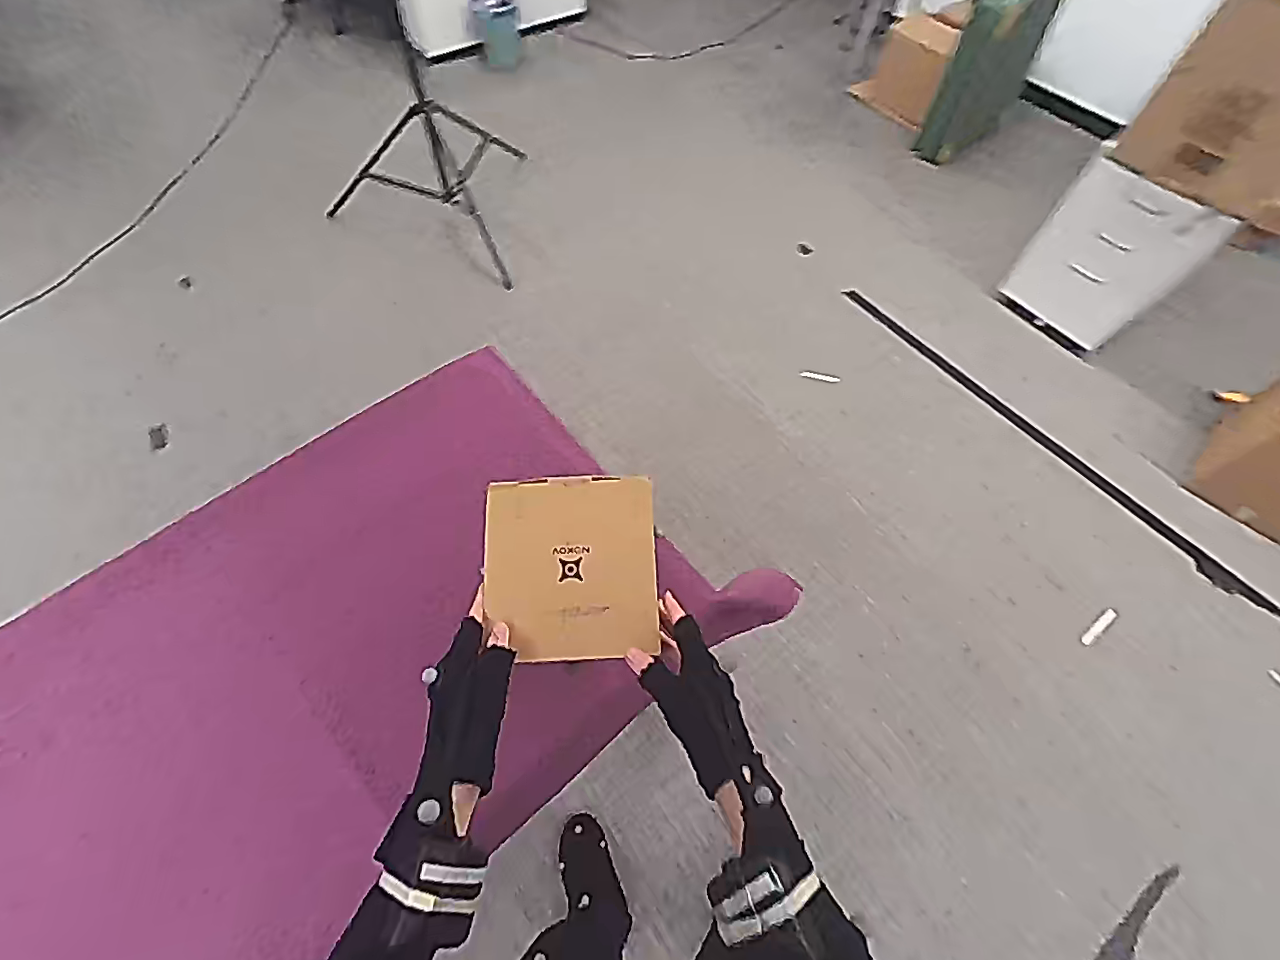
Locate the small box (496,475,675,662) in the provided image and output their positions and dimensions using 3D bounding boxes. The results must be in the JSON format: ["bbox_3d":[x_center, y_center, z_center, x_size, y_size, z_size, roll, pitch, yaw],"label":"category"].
[{"bbox_3d":[-0.052,0.104,0.592,0.168,0.176,0.179,-2,72,0],"label":"small box"}]
